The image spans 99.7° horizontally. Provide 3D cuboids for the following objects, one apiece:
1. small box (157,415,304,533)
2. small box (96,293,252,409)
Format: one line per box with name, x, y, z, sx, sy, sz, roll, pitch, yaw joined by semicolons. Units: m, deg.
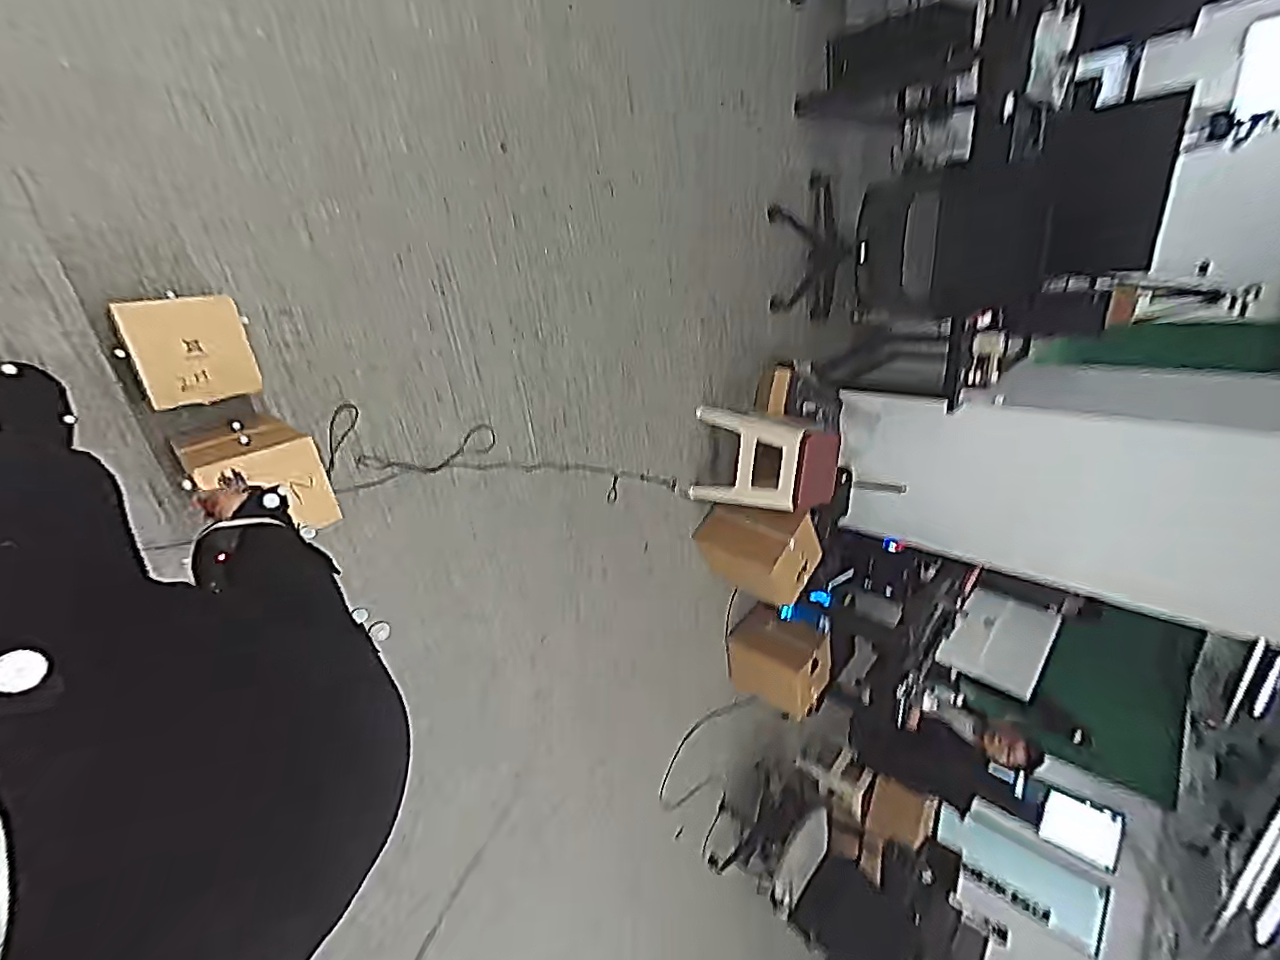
small box;-0.808;-0.021;1.068;0.179;0.176;0.168;-28;120;-38
small box;-0.838;-0.234;0.973;0.168;0.176;0.179;-23;117;-40
